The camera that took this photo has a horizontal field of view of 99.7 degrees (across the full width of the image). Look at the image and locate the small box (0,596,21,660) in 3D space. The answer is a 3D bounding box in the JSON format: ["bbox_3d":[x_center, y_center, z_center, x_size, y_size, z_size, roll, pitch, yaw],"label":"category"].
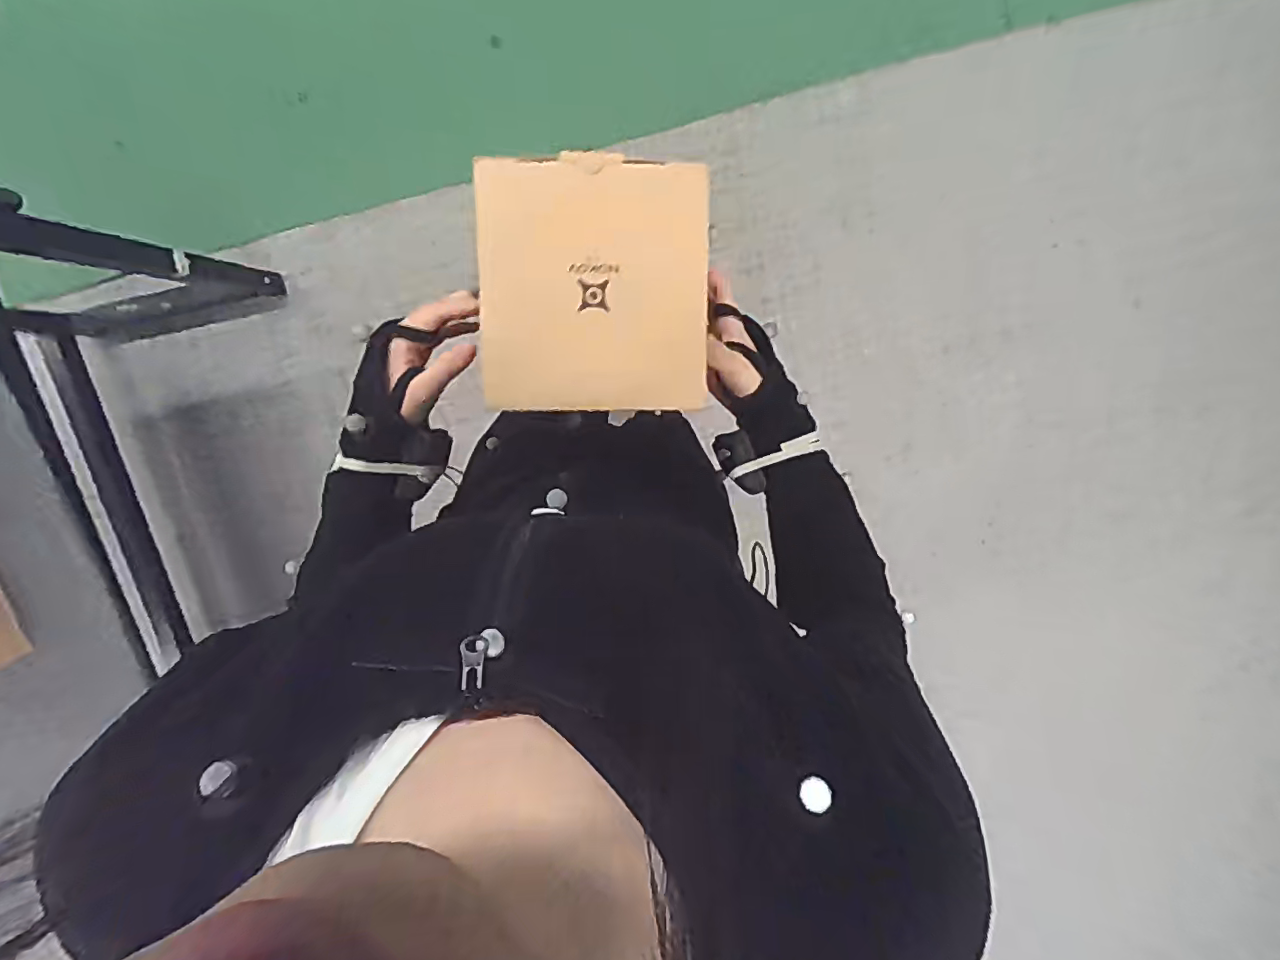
[{"bbox_3d":[-1.053,0.221,0.749,0.179,0.176,0.168,-11,102,5],"label":"small box"}]

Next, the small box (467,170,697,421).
[{"bbox_3d":[-0.043,-0.144,0.472,0.168,0.176,0.179,-2,97,-3],"label":"small box"}]
